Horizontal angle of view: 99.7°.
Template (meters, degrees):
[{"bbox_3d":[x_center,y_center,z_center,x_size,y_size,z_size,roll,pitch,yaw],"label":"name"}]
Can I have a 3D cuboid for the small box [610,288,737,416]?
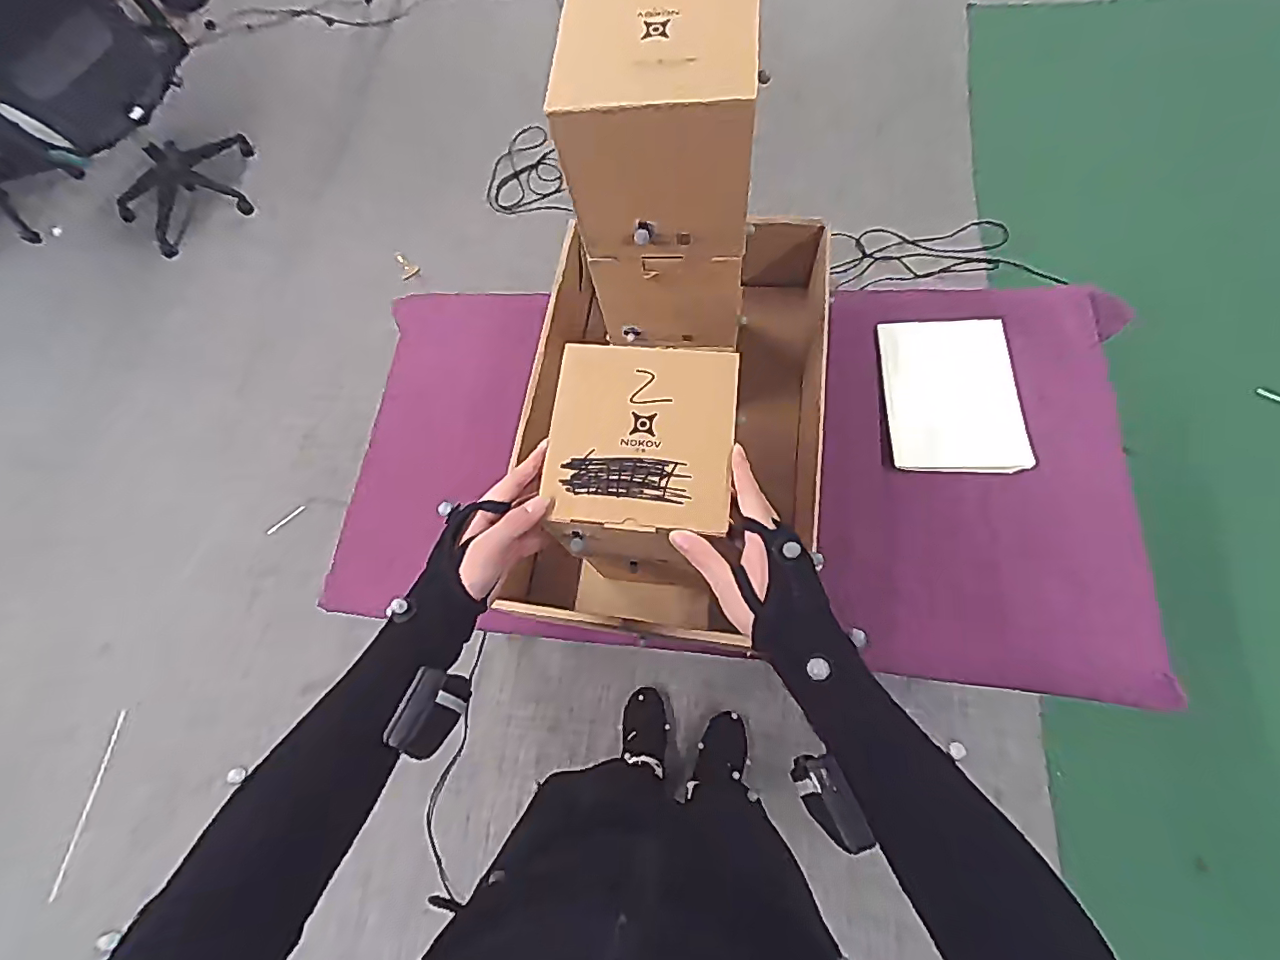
[{"bbox_3d":[0.057,-0.216,0.821,0.168,0.176,0.179,3,72,8],"label":"small box"}]

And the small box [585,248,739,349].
[{"bbox_3d":[0.038,-0.279,0.670,0.168,0.176,0.179,3,70,8],"label":"small box"}]

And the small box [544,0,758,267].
[{"bbox_3d":[0.021,-0.333,0.518,0.168,0.176,0.179,3,72,8],"label":"small box"}]
